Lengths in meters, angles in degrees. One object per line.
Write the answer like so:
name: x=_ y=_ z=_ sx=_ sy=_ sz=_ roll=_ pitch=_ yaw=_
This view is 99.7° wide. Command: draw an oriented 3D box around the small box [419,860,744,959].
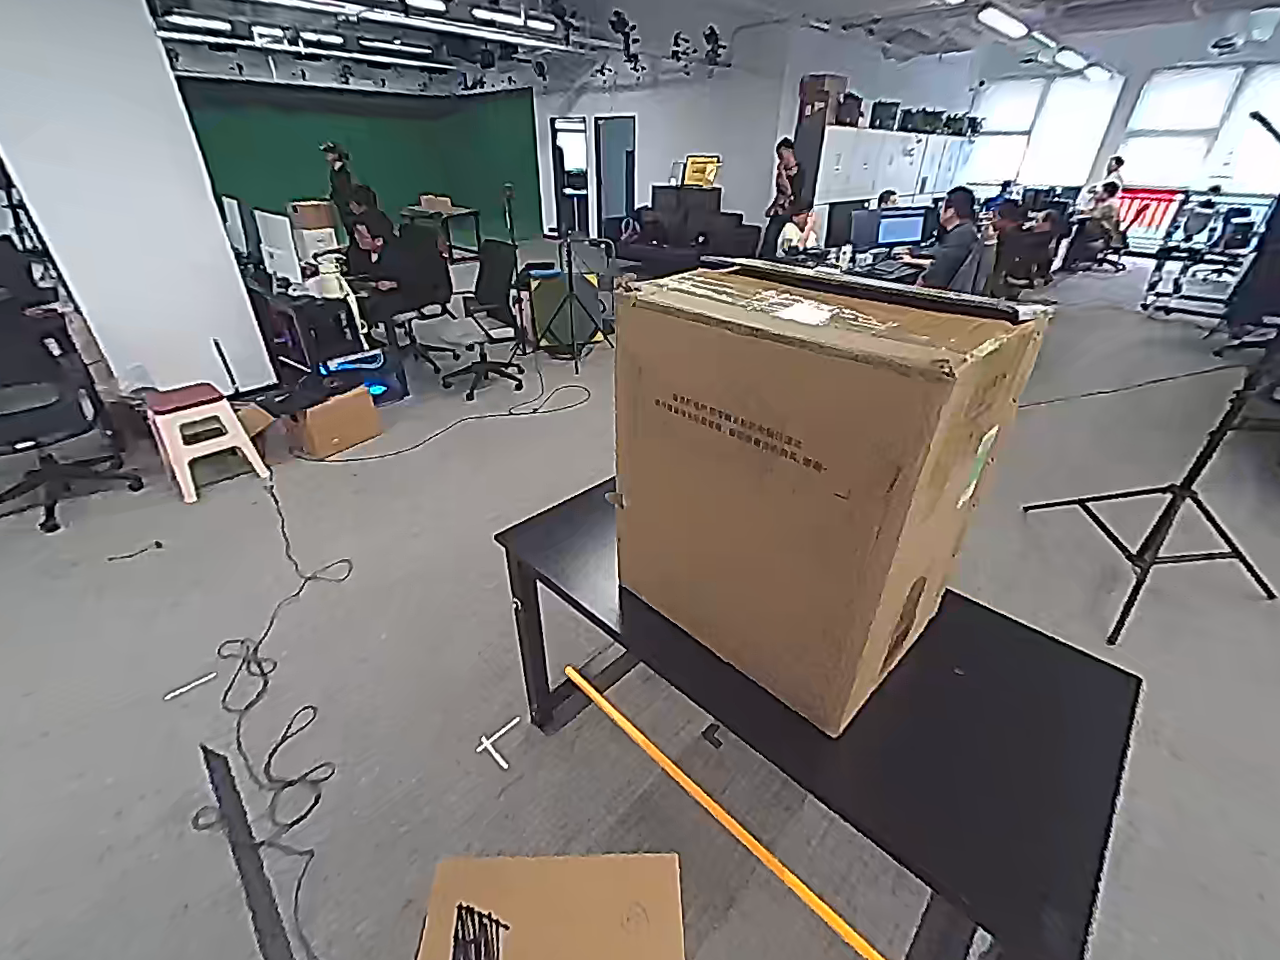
small box: x=-0.031 y=0.340 z=0.307 sx=0.179 sy=0.176 sz=0.168 roll=0 pitch=40 yaw=-2
